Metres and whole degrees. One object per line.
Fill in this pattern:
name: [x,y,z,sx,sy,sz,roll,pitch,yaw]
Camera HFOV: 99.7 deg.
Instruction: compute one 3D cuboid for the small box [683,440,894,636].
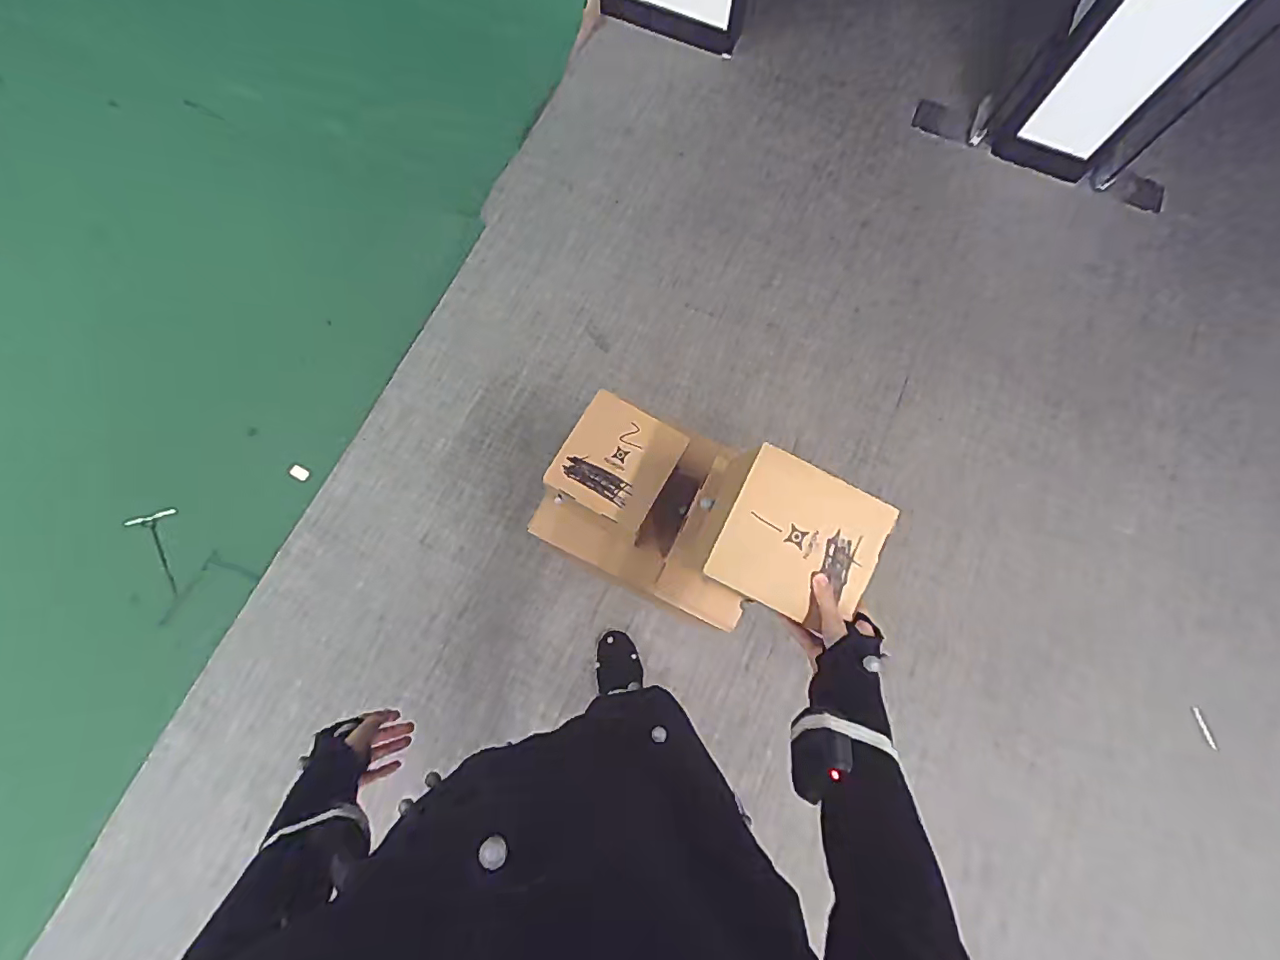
small box: [0.172,0.071,0.680,0.179,0.176,0.168,26,82,0]
